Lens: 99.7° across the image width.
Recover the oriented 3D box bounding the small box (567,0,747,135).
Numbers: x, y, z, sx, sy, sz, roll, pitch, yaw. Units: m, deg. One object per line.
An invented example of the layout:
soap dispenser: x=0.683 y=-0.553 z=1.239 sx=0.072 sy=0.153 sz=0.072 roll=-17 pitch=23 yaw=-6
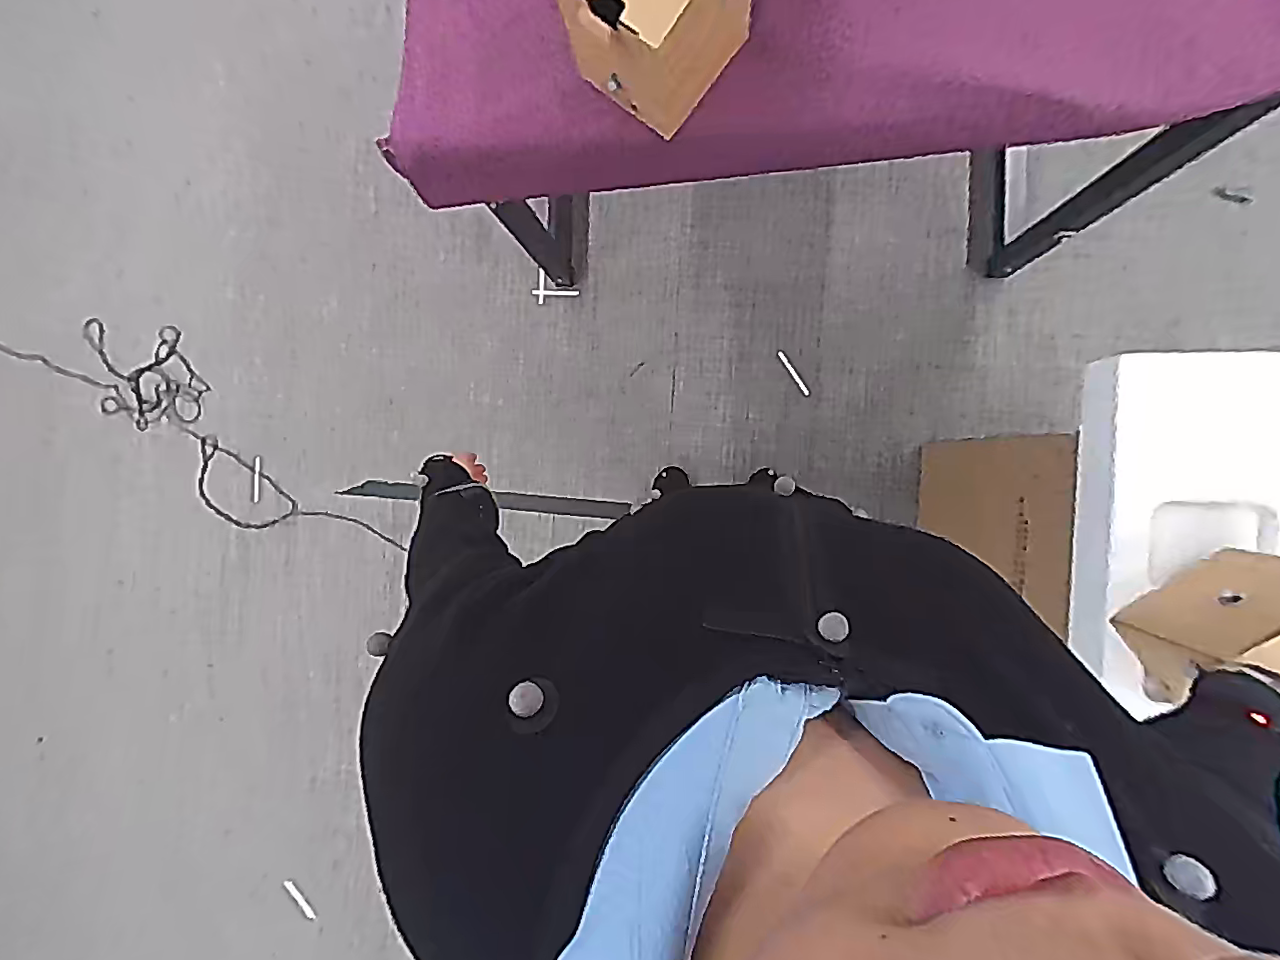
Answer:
small box: x=0.023 y=-0.594 z=0.680 sx=0.168 sy=0.176 sz=0.179 roll=40 pitch=95 yaw=6
